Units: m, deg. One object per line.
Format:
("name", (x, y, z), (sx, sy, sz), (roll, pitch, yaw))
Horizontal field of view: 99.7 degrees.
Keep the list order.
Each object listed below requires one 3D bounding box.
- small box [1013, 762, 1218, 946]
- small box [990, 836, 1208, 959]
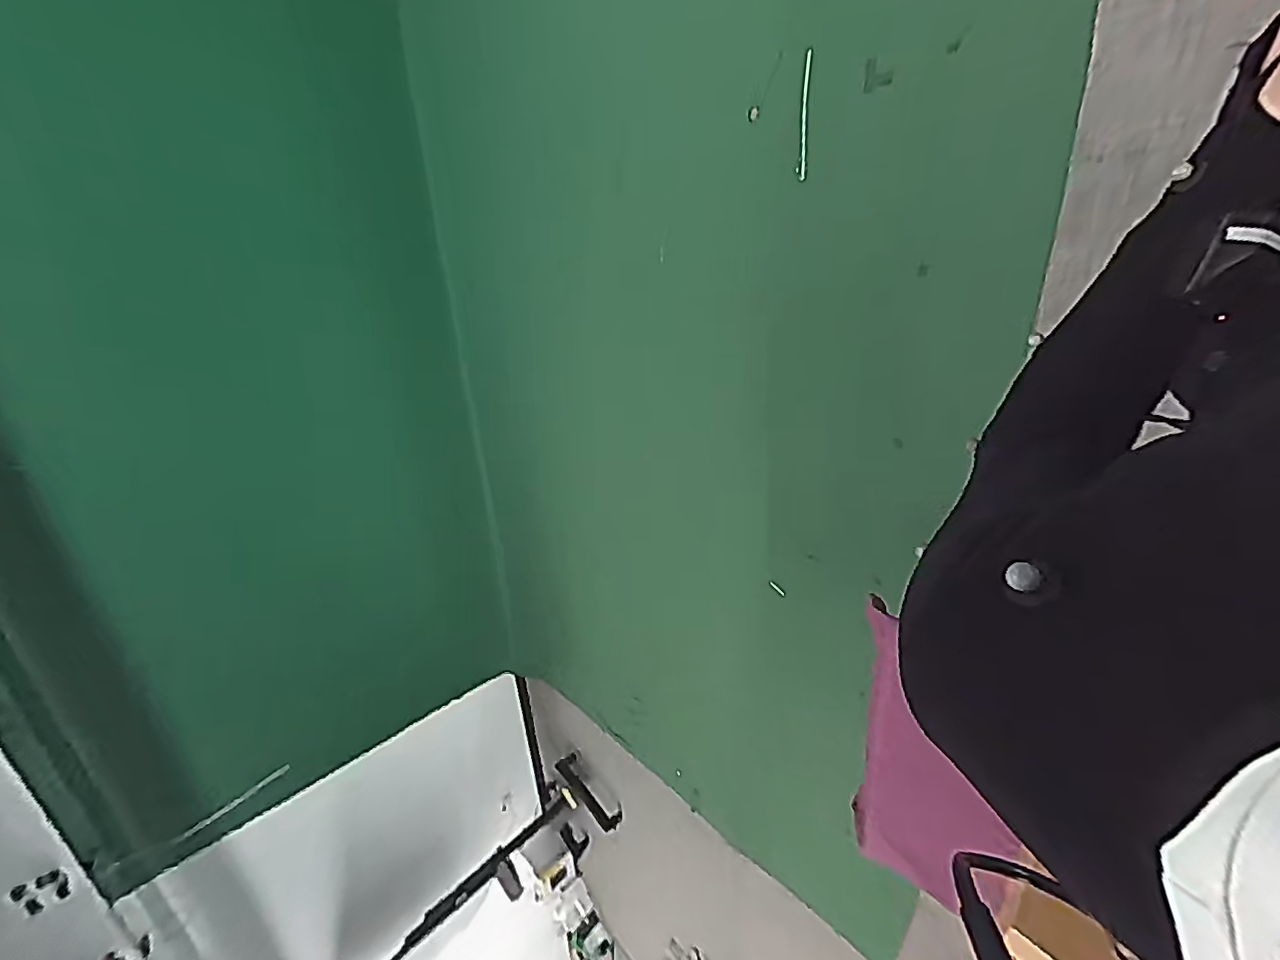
("small box", (0.702, 0.568, 0.801), (0.179, 0.176, 0.168), (28, 128, 38))
("small box", (0.585, 0.619, 0.699), (0.179, 0.176, 0.168), (24, 124, 39))
